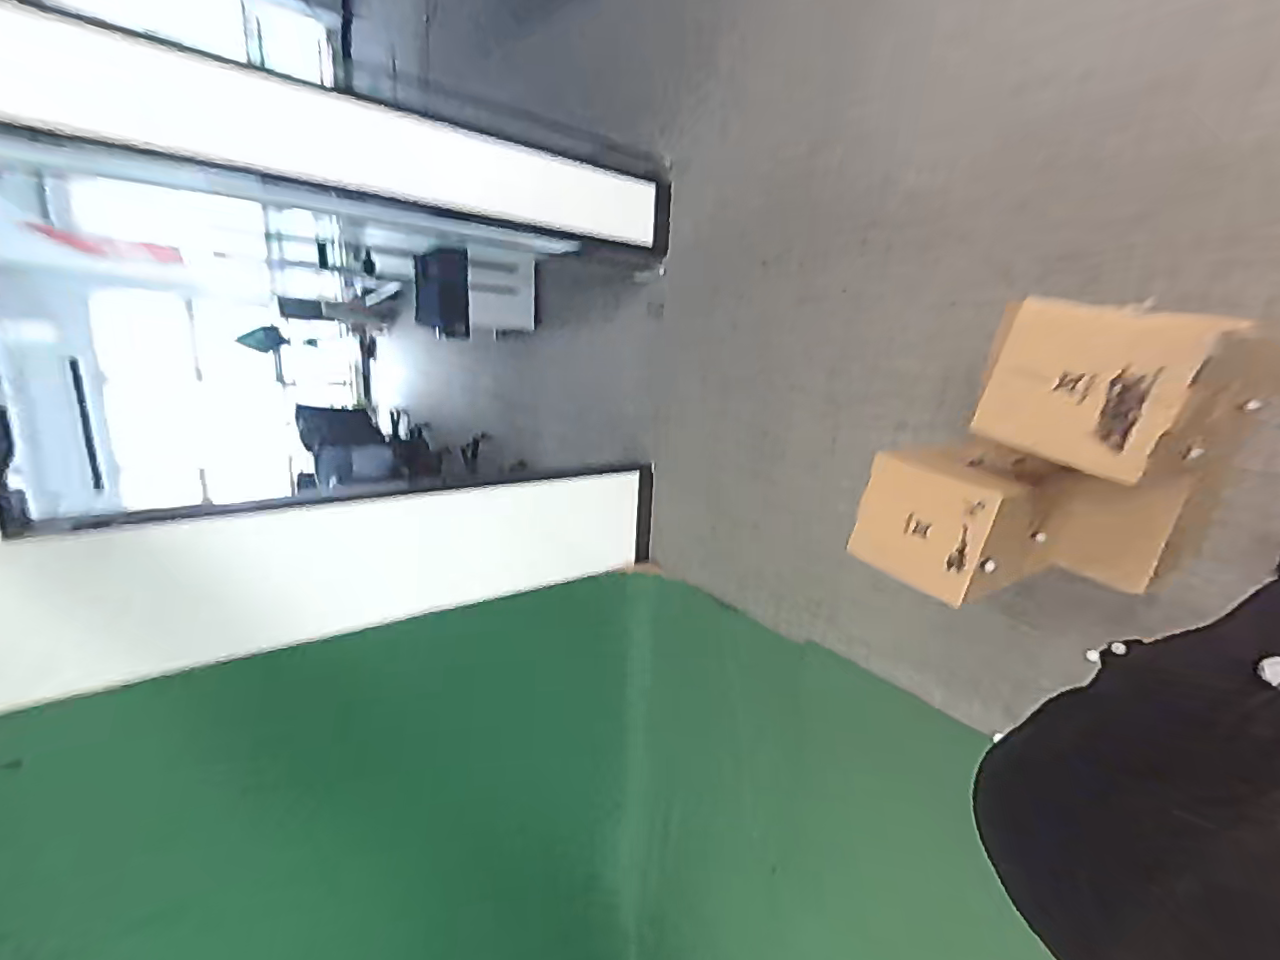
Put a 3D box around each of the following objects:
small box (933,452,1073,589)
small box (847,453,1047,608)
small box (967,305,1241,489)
[{"bbox_3d":[0.581,0.055,0.901,0.168,0.176,0.179,28,116,50],"label":"small box"},{"bbox_3d":[0.449,0.063,0.801,0.179,0.176,0.168,33,120,48],"label":"small box"},{"bbox_3d":[0.546,-0.104,0.644,0.179,0.176,0.168,38,124,49],"label":"small box"}]
